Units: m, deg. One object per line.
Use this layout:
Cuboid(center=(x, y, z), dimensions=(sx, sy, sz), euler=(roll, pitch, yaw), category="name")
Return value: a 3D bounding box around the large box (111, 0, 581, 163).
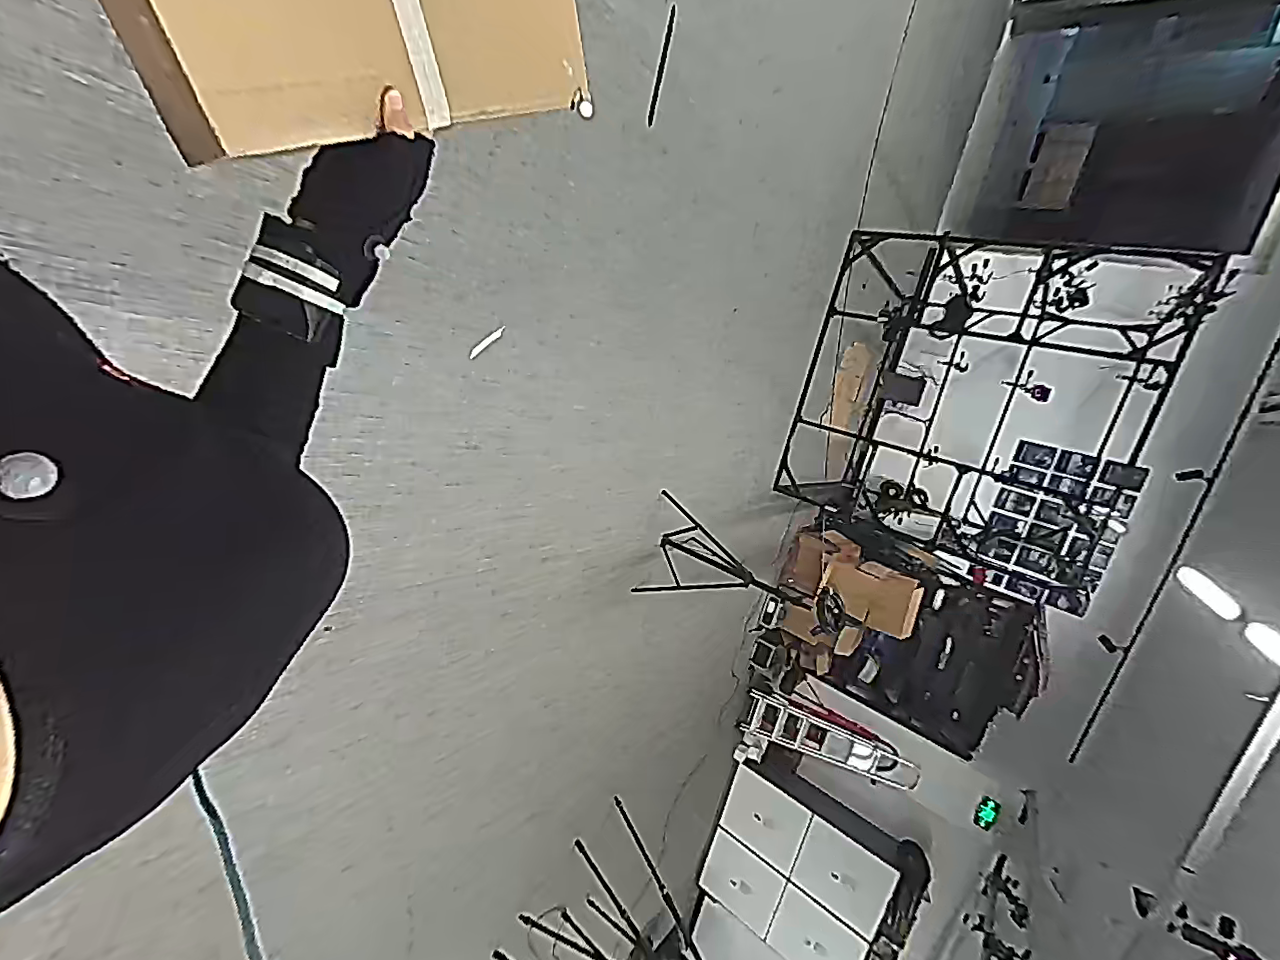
Cuboid(center=(-0.295, -0.517, 0.442), dimensions=(0.320, 0.320, 0.408), euler=(-30, 130, -28), category="large box")
